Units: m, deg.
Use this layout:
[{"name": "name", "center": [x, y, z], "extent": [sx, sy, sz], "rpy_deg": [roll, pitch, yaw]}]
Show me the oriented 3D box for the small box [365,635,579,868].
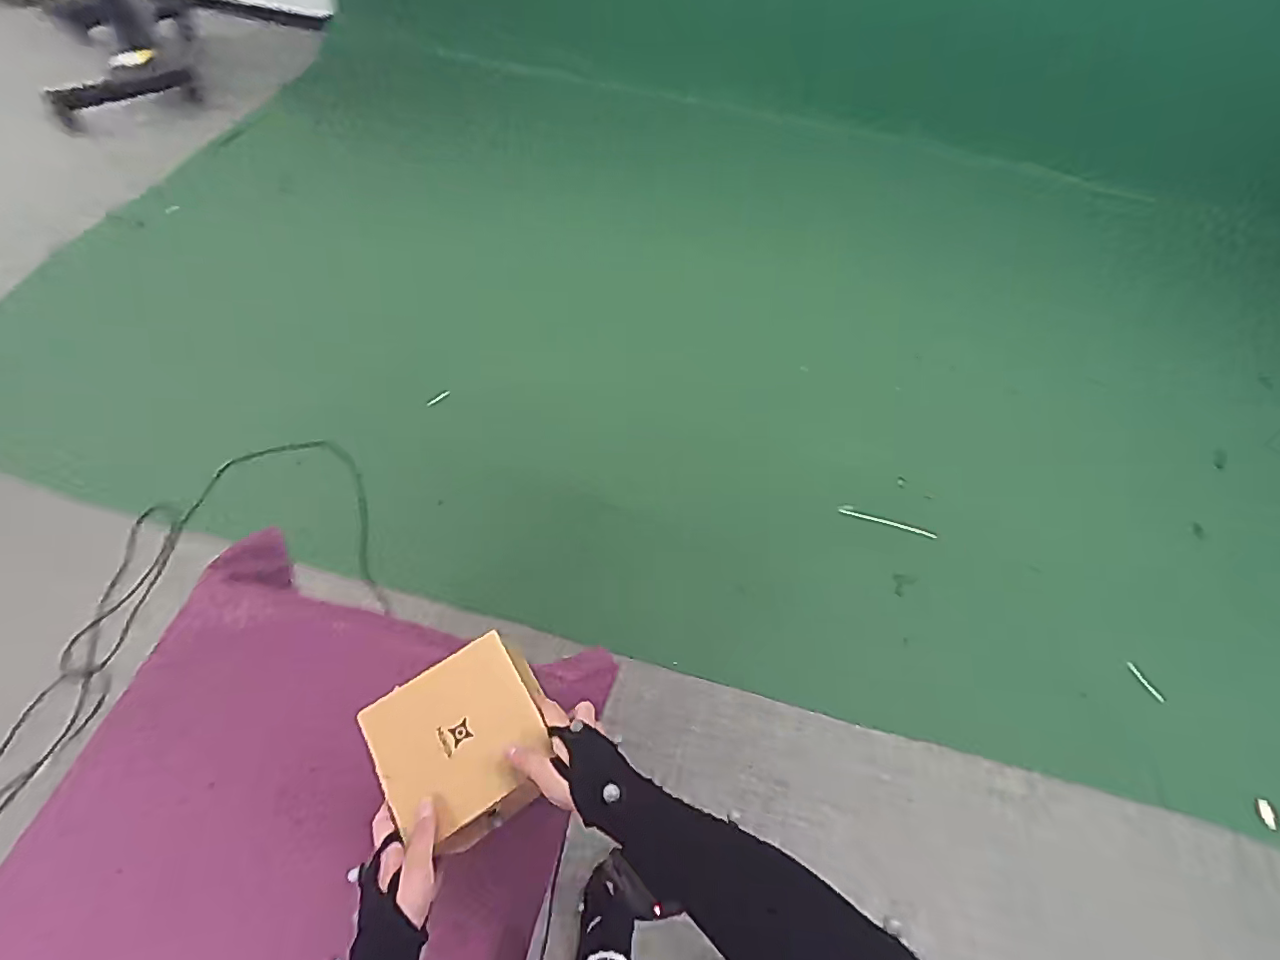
[{"name": "small box", "center": [-0.186, 0.319, 0.652], "extent": [0.179, 0.176, 0.168], "rpy_deg": [-31, 63, -13]}]
